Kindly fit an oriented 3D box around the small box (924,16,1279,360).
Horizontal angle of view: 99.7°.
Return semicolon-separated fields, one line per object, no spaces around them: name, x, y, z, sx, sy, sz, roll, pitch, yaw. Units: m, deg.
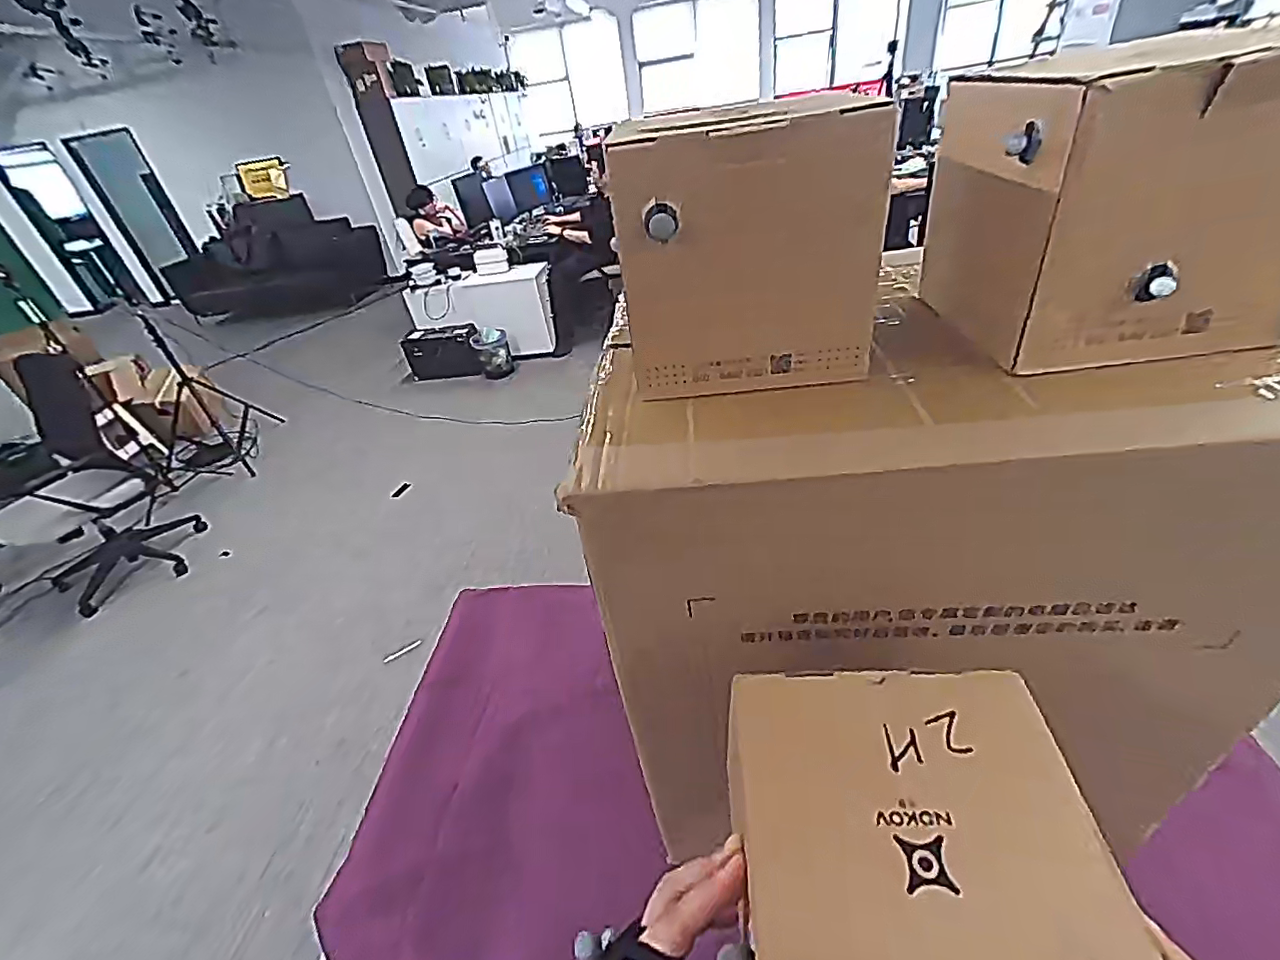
small box;0.321;-0.200;0.376;0.168;0.176;0.179;-6;37;6
